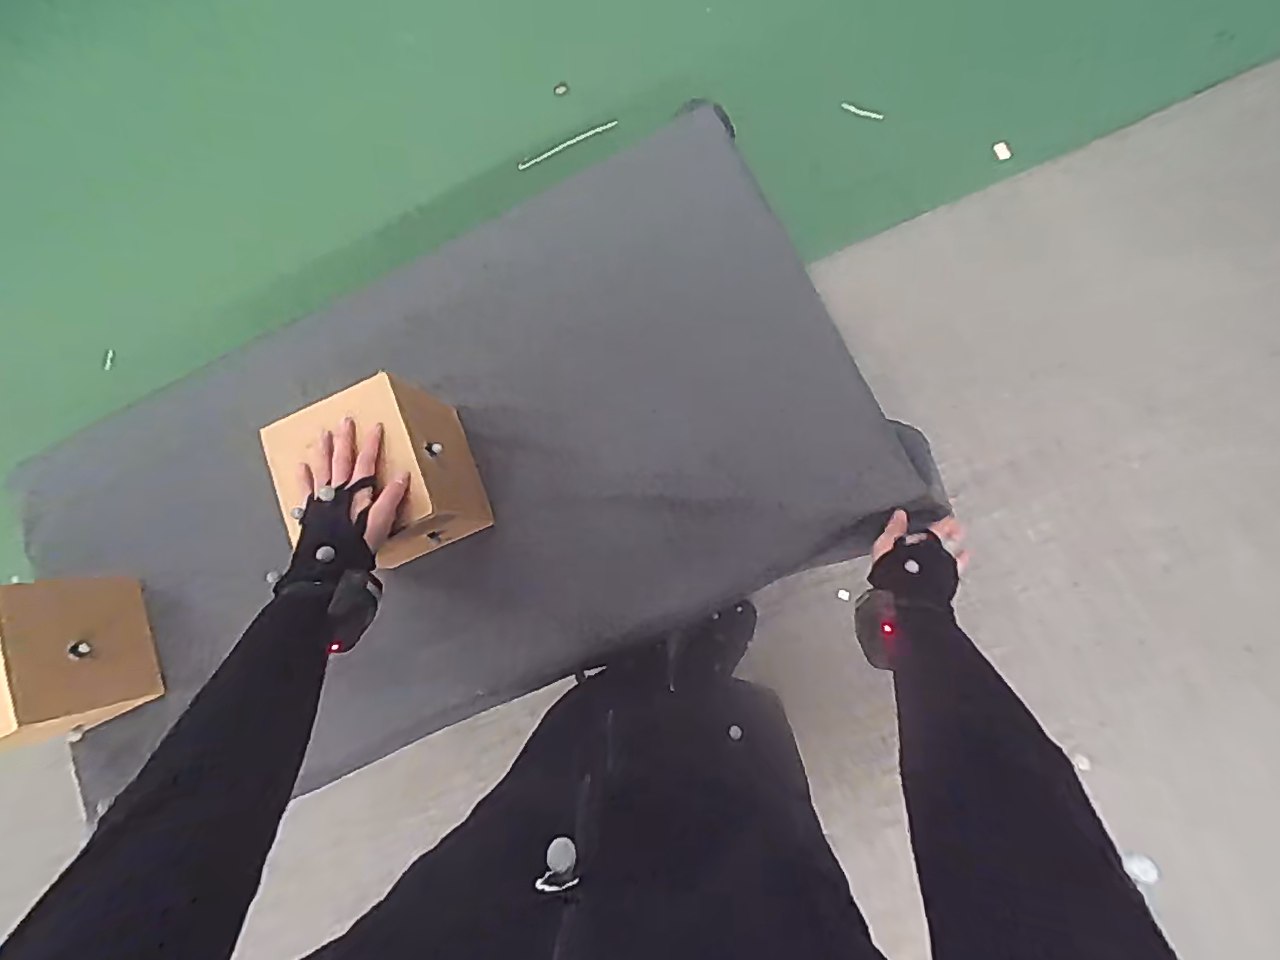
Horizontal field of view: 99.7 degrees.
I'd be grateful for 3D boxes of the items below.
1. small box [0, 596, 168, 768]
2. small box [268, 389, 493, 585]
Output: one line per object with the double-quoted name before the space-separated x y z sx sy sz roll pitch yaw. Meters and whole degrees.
"small box" -0.780 0.261 0.706 0.168 0.176 0.179 -25 80 4
"small box" -0.309 0.016 0.677 0.168 0.176 0.179 -24 79 3
